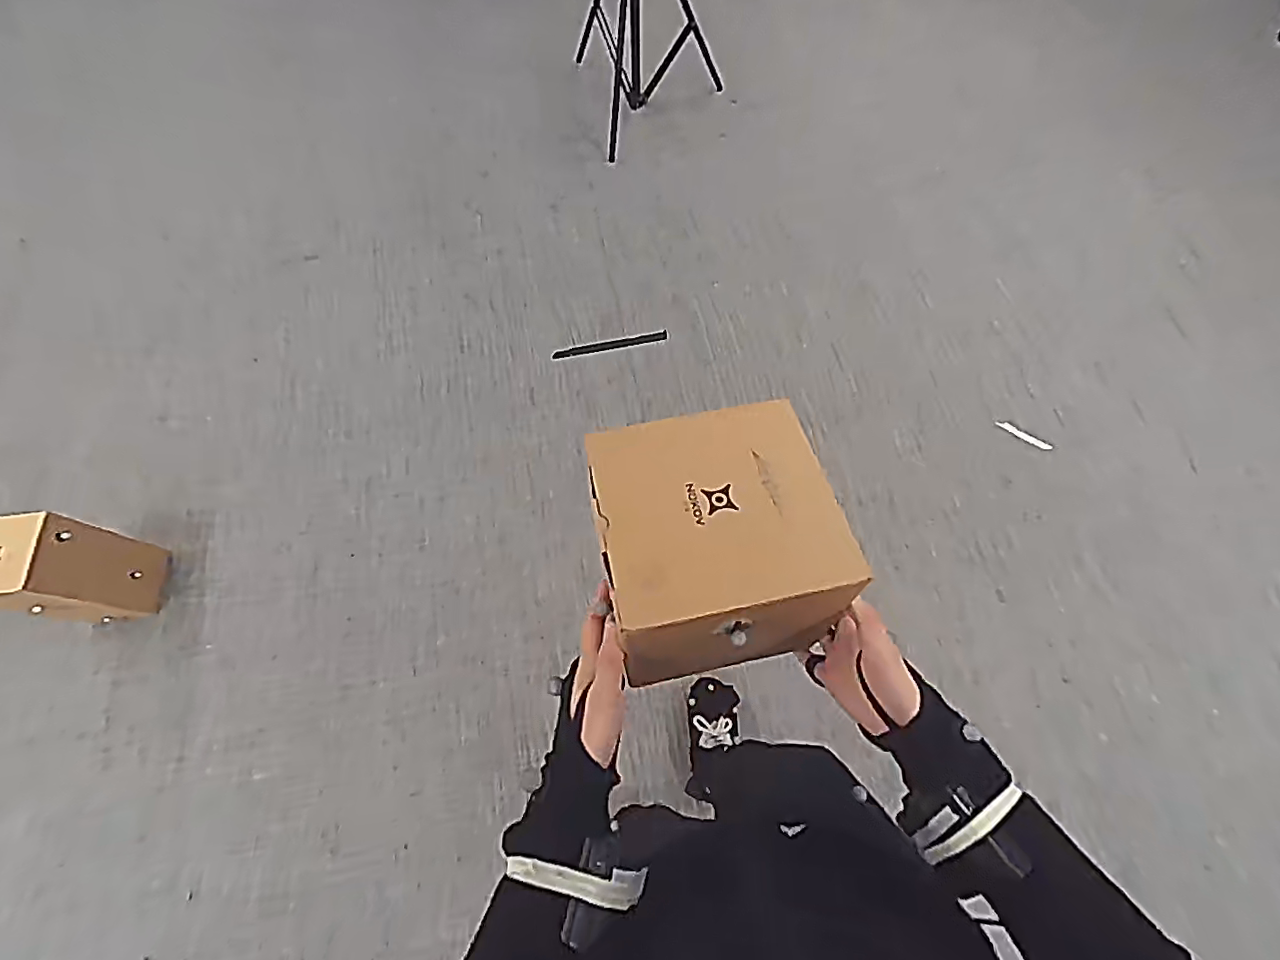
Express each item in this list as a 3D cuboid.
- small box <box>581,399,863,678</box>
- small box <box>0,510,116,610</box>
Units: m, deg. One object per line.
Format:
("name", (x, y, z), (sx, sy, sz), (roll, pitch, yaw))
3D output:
("small box", (0.054, 0.058, 0.469), (0.179, 0.176, 0.168), (-11, 58, -7))
("small box", (-1.334, 0.182, 1.202), (0.168, 0.176, 0.179), (-7, 69, -1))
